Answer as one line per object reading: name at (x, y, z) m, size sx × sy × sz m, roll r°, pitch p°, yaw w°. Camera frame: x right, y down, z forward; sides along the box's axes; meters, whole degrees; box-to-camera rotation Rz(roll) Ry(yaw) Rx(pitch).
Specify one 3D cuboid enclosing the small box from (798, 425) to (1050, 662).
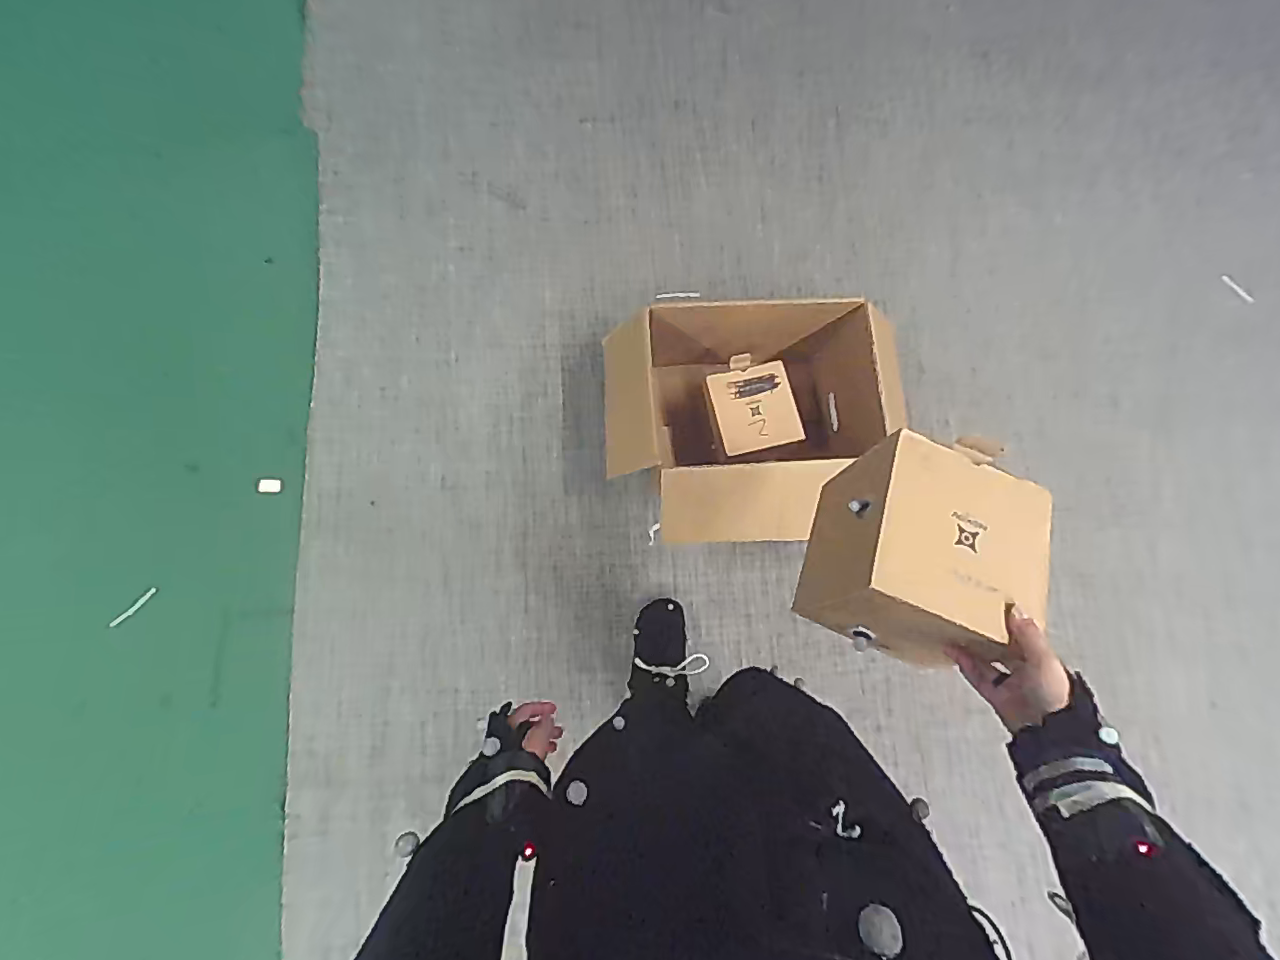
small box at (0.290, 0.077, 0.576) m, size 0.168 × 0.176 × 0.179 m, roll 23°, pitch 66°, yaw 0°
